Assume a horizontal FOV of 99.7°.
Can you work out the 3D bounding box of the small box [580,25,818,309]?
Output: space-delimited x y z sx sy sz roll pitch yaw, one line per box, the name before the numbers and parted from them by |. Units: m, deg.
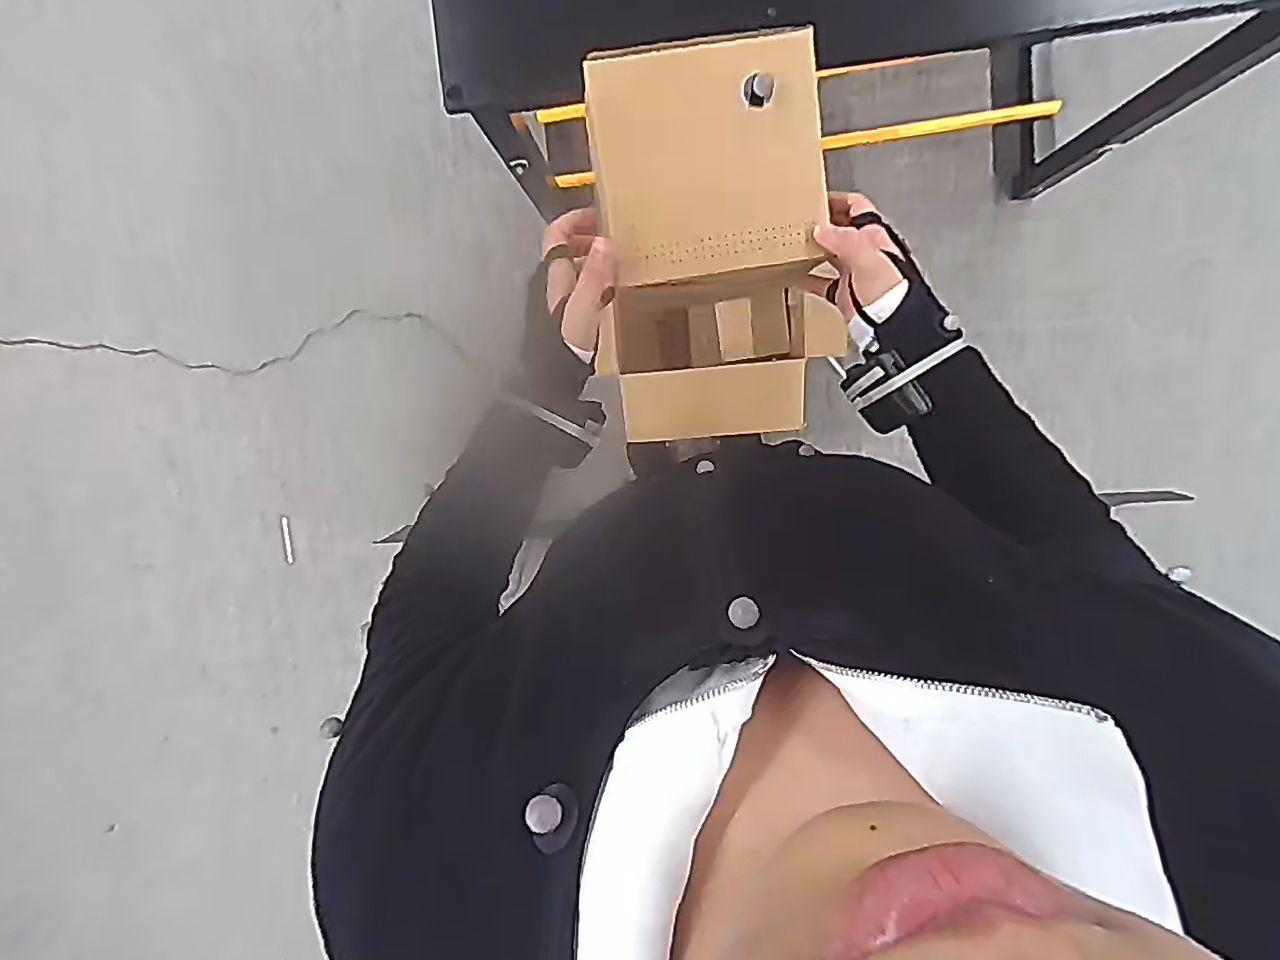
small box | 0.051 -0.258 0.491 0.179 0.168 0.176 -10 101 0
